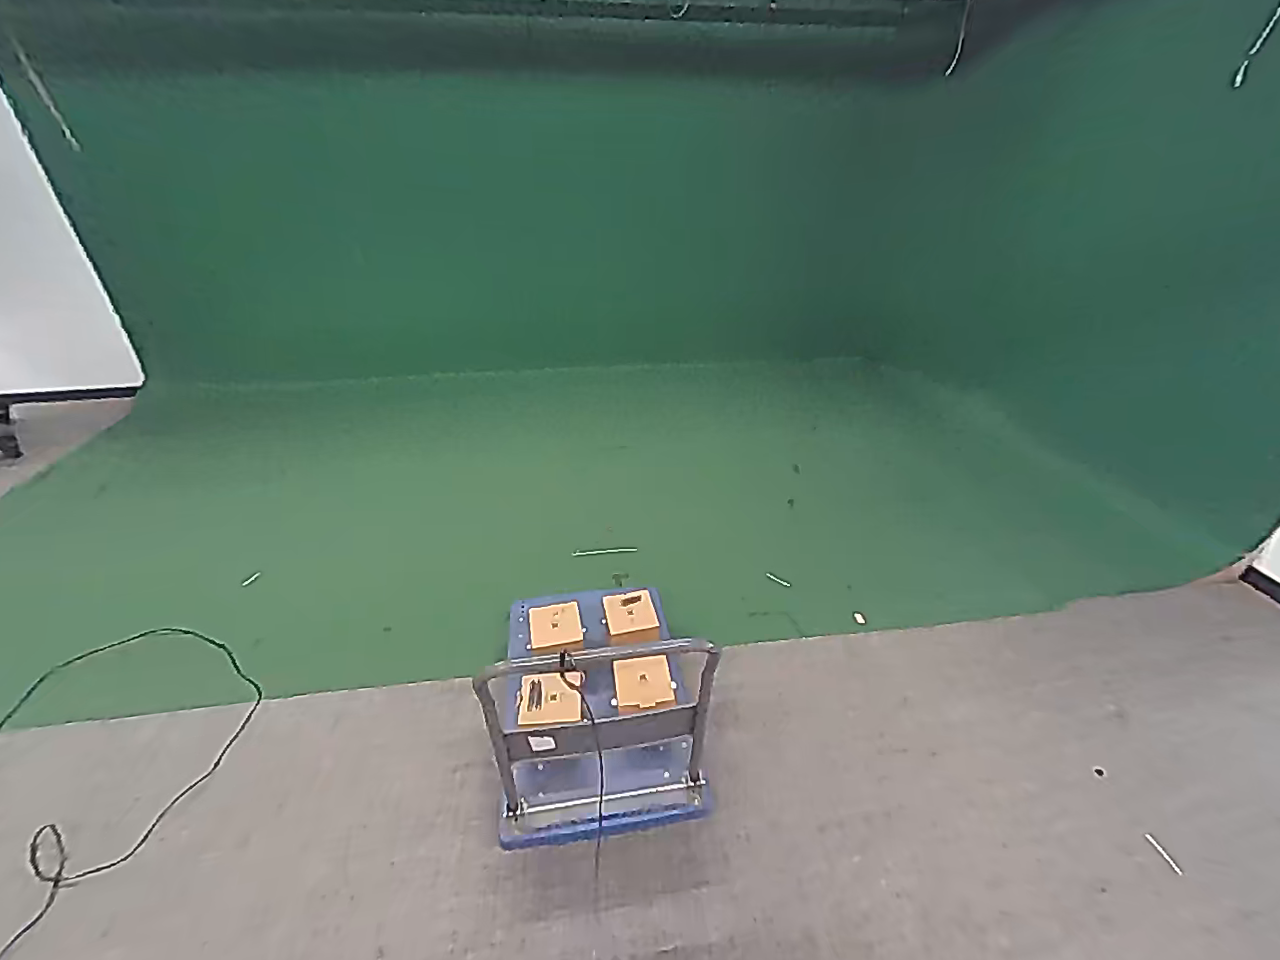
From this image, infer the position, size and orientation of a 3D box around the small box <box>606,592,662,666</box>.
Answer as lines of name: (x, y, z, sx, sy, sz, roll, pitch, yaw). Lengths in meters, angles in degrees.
small box: (-0.024, 0.515, 1.853, 0.168, 0.176, 0.179, -8, 34, -10)

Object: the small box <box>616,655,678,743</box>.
small box: (0.016, 0.658, 1.628, 0.168, 0.176, 0.179, -4, 33, -6)

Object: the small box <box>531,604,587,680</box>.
small box: (-0.270, 0.546, 1.808, 0.168, 0.176, 0.179, -6, 33, -11)
